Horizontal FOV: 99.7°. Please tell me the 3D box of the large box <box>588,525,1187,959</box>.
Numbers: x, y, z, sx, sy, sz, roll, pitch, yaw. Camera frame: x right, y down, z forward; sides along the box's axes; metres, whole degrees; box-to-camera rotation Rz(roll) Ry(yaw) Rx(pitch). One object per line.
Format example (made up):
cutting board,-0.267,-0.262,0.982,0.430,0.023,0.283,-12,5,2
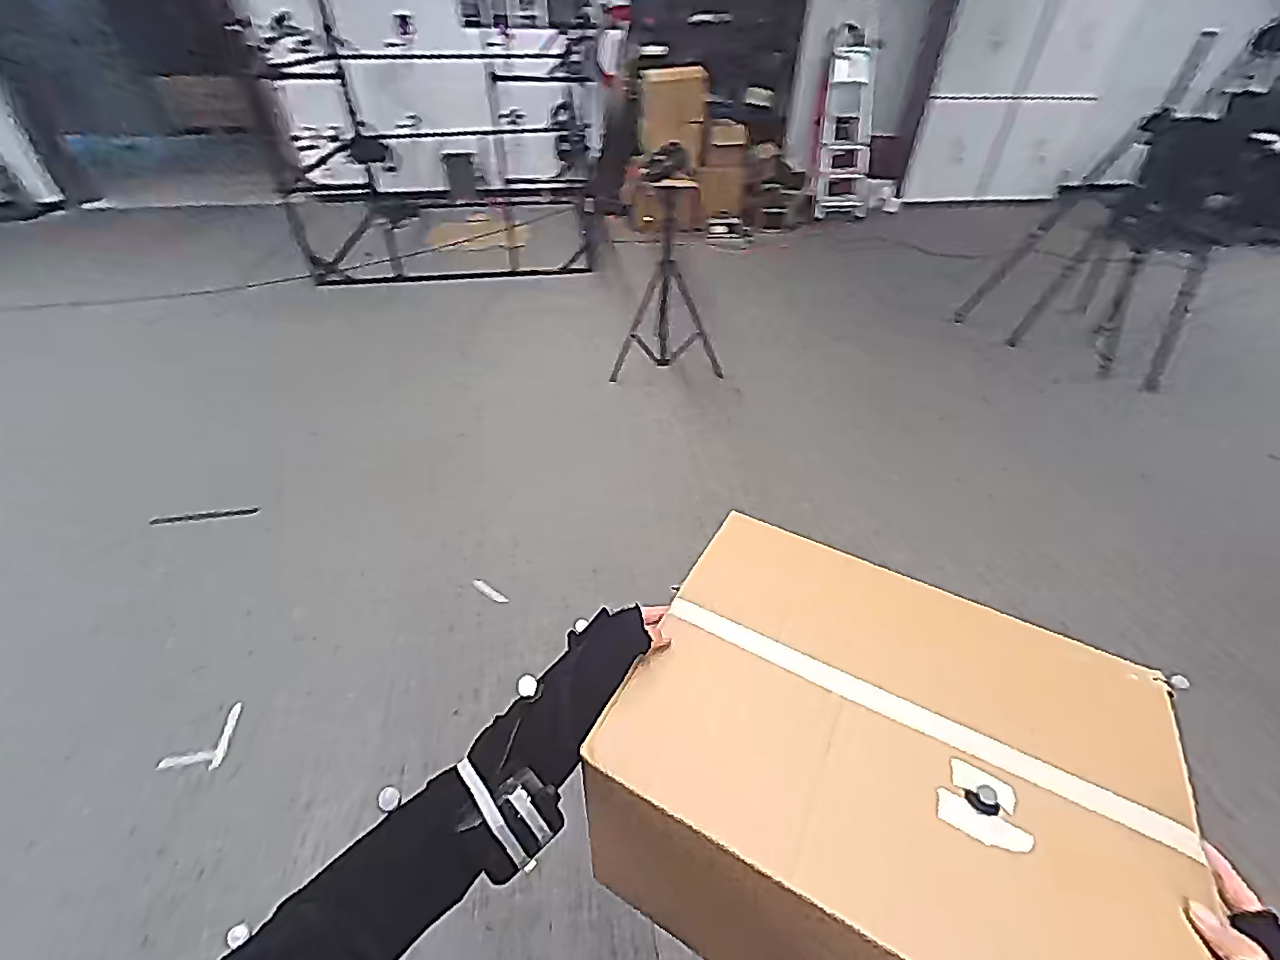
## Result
large box,0.194,0.309,0.550,0.408,0.320,0.320,20,43,21
